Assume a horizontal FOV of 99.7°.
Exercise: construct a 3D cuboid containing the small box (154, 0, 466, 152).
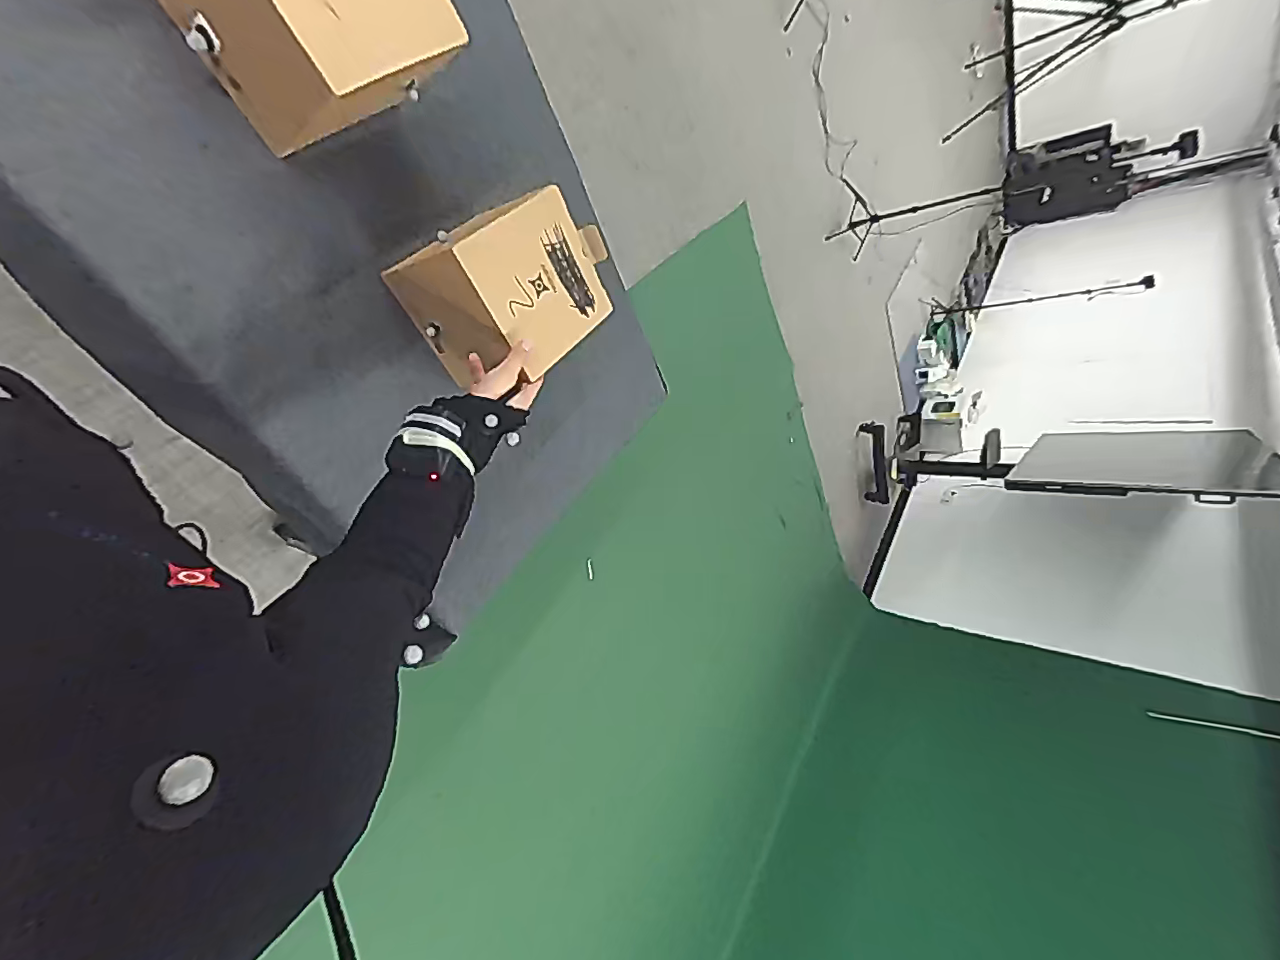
[{"bbox_3d":[-0.312,-0.450,0.510,0.179,0.176,0.168,-55,131,-30],"label":"small box"}]
